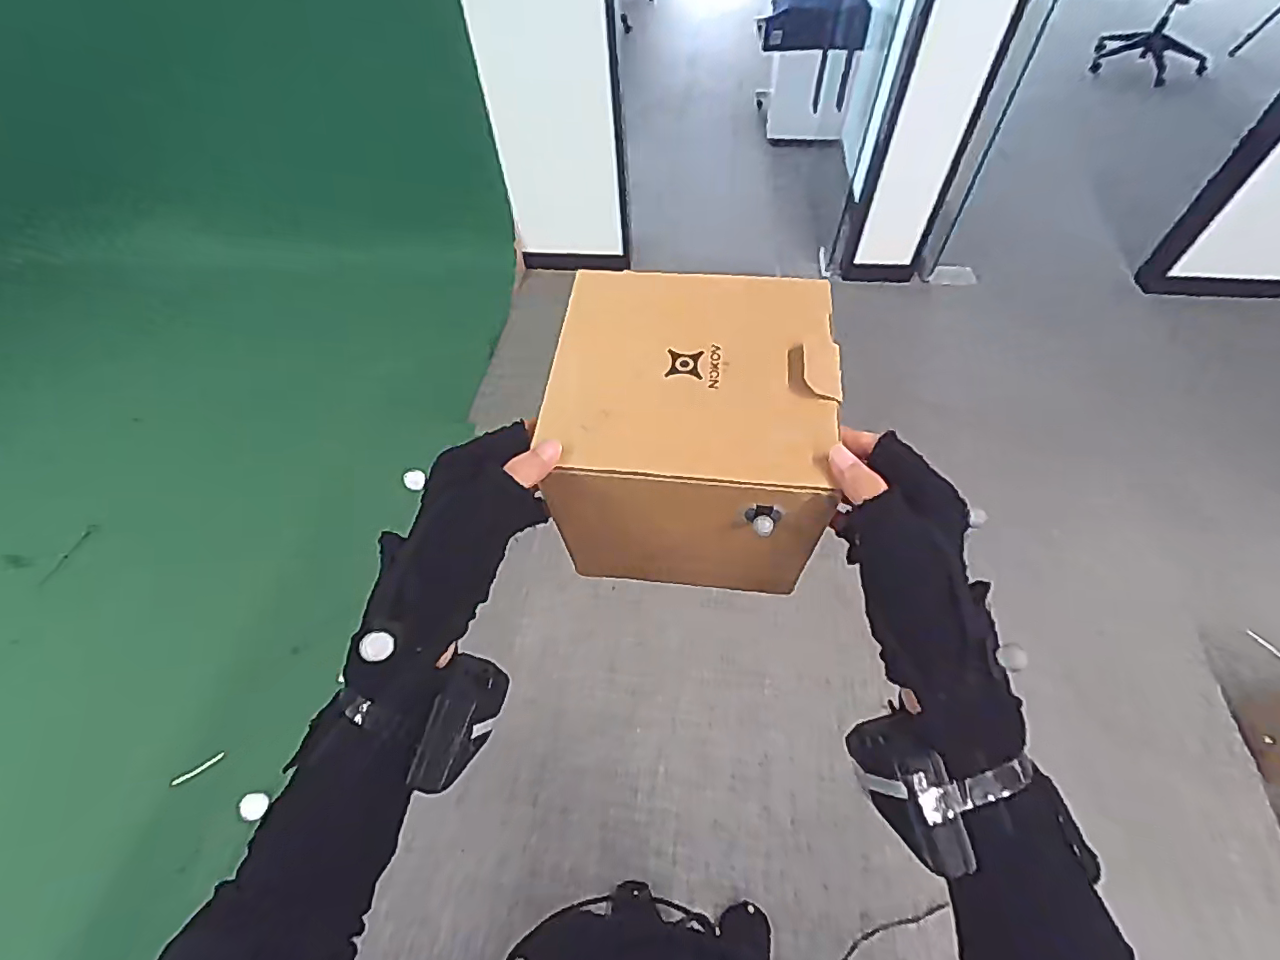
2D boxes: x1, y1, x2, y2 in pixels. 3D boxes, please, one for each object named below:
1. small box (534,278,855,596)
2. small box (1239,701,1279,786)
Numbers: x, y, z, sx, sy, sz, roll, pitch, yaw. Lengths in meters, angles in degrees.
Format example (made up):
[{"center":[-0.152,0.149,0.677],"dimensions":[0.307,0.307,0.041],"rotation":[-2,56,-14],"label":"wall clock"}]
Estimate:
[{"center":[0.040,-0.024,0.397],"dimensions":[0.179,0.176,0.168],"rotation":[5,59,5],"label":"small box"},{"center":[1.510,0.581,1.185],"dimensions":[0.179,0.176,0.168],"rotation":[5,54,7],"label":"small box"}]
